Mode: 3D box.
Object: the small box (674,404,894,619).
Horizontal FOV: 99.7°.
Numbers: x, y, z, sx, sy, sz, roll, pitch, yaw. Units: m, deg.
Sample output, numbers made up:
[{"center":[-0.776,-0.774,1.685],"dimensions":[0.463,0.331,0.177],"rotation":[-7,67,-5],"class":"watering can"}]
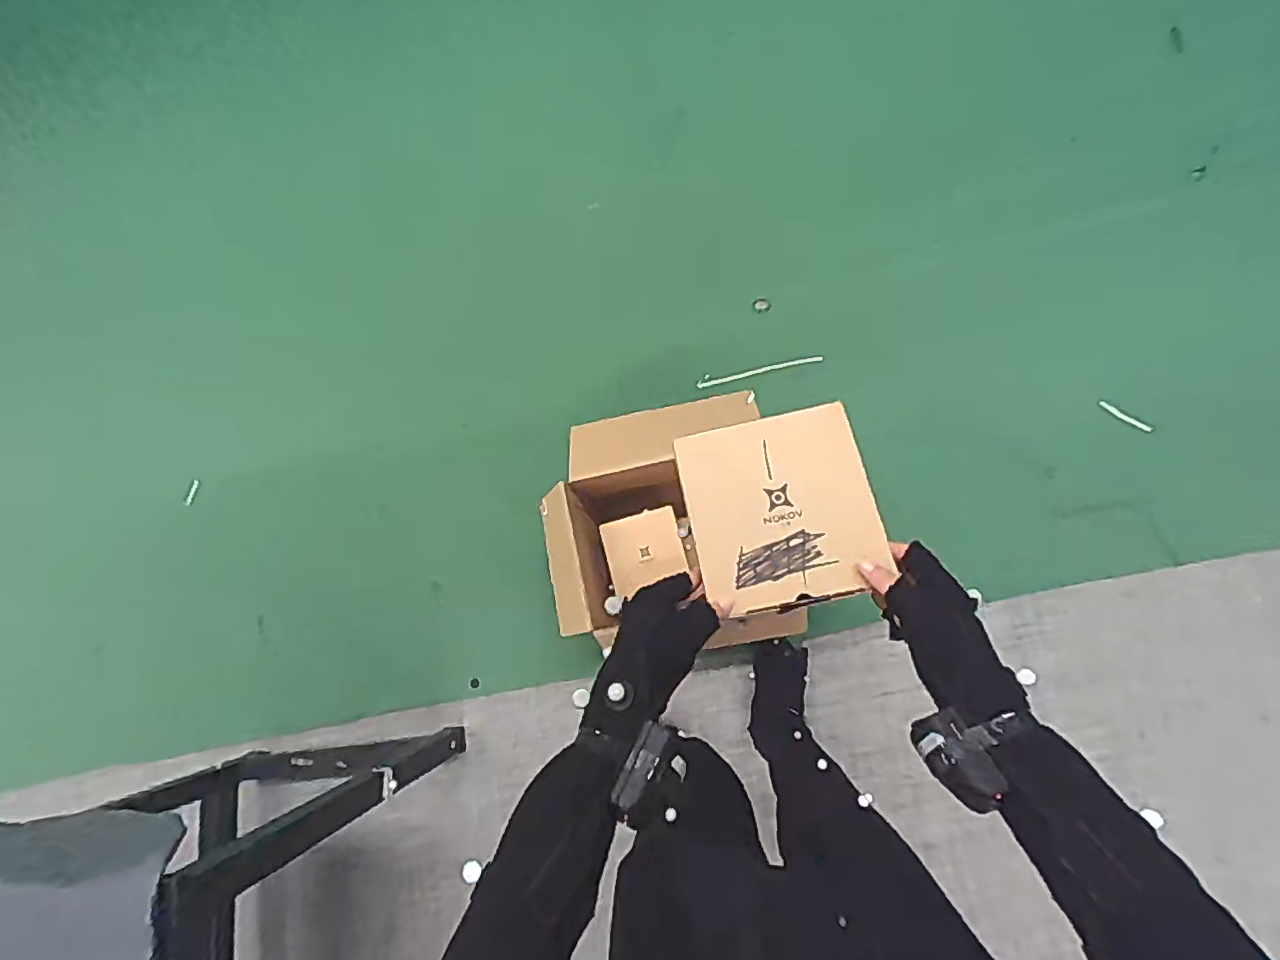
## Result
[{"center":[0.137,0.046,0.570],"dimensions":[0.168,0.176,0.179],"rotation":[-12,73,4],"class":"small box"}]
